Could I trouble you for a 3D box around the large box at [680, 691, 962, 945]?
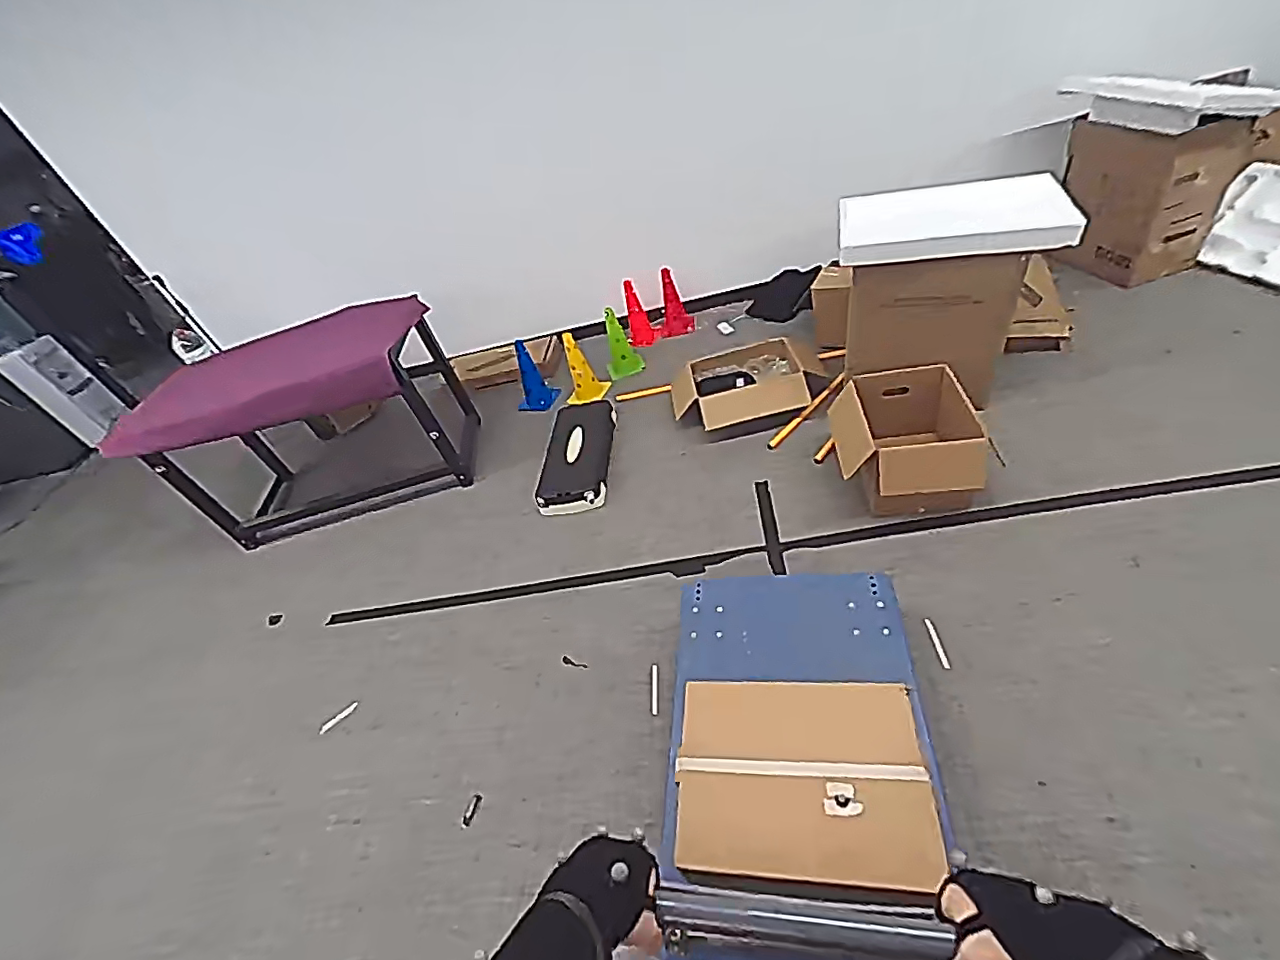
[{"bbox_3d":[0.301,0.607,0.990,0.408,0.320,0.320,-5,43,14],"label":"large box"}]
